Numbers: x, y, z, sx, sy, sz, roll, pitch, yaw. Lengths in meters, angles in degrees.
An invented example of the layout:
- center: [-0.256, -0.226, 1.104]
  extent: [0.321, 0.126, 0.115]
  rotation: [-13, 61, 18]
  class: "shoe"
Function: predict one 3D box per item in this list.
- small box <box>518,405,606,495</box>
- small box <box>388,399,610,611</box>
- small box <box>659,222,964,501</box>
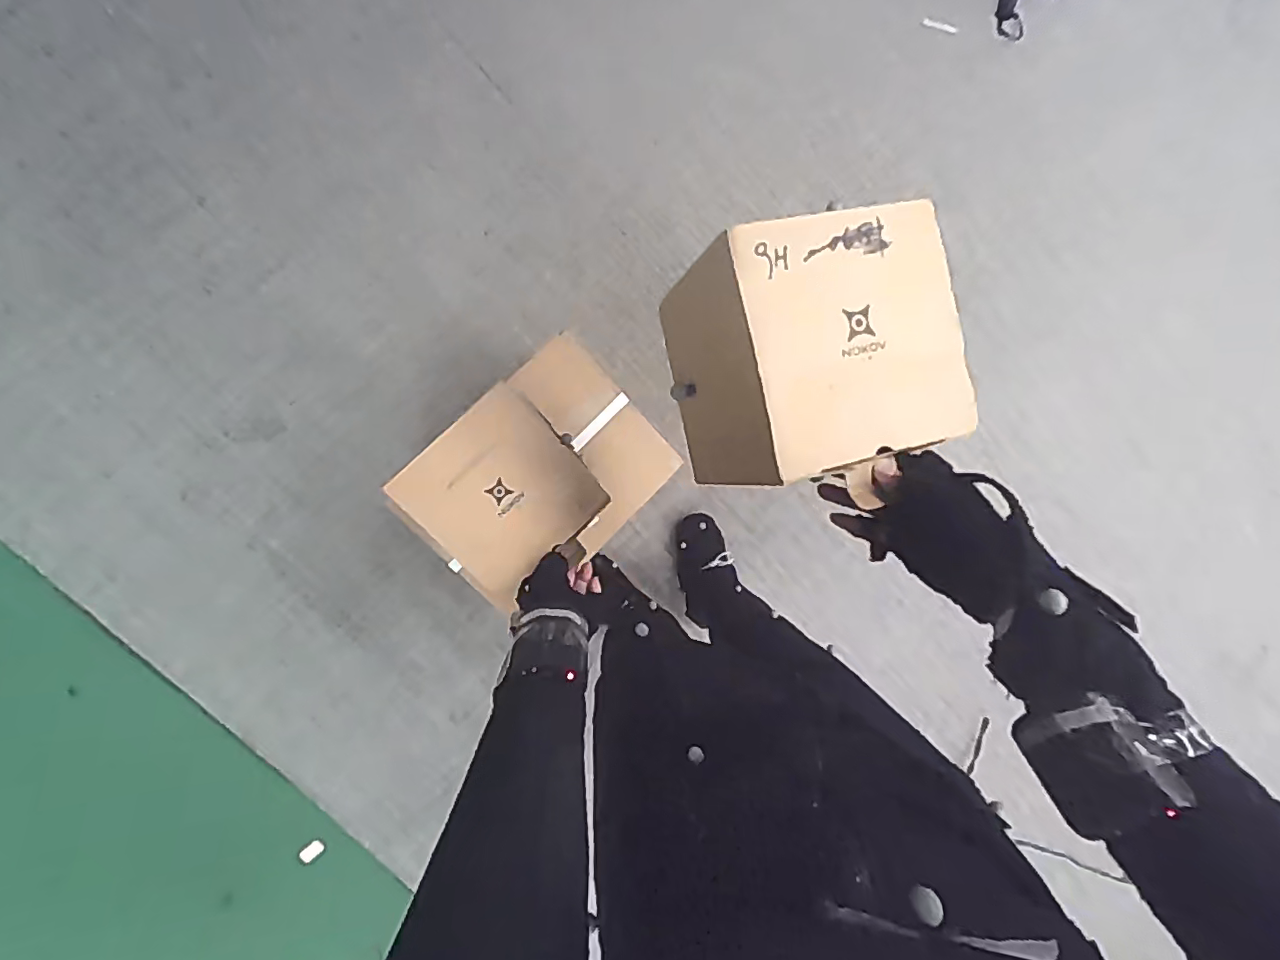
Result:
- center: [-0.178, 0.005, 0.817]
  extent: [0.179, 0.176, 0.168]
  rotation: [-45, 101, -4]
  class: "small box"
- center: [-0.159, 0.022, 0.657]
  extent: [0.168, 0.176, 0.179]
  rotation: [-44, 100, -5]
  class: "small box"
- center: [0.129, -0.089, 0.461]
  extent: [0.168, 0.176, 0.179]
  rotation: [-14, 94, -14]
  class: "small box"
